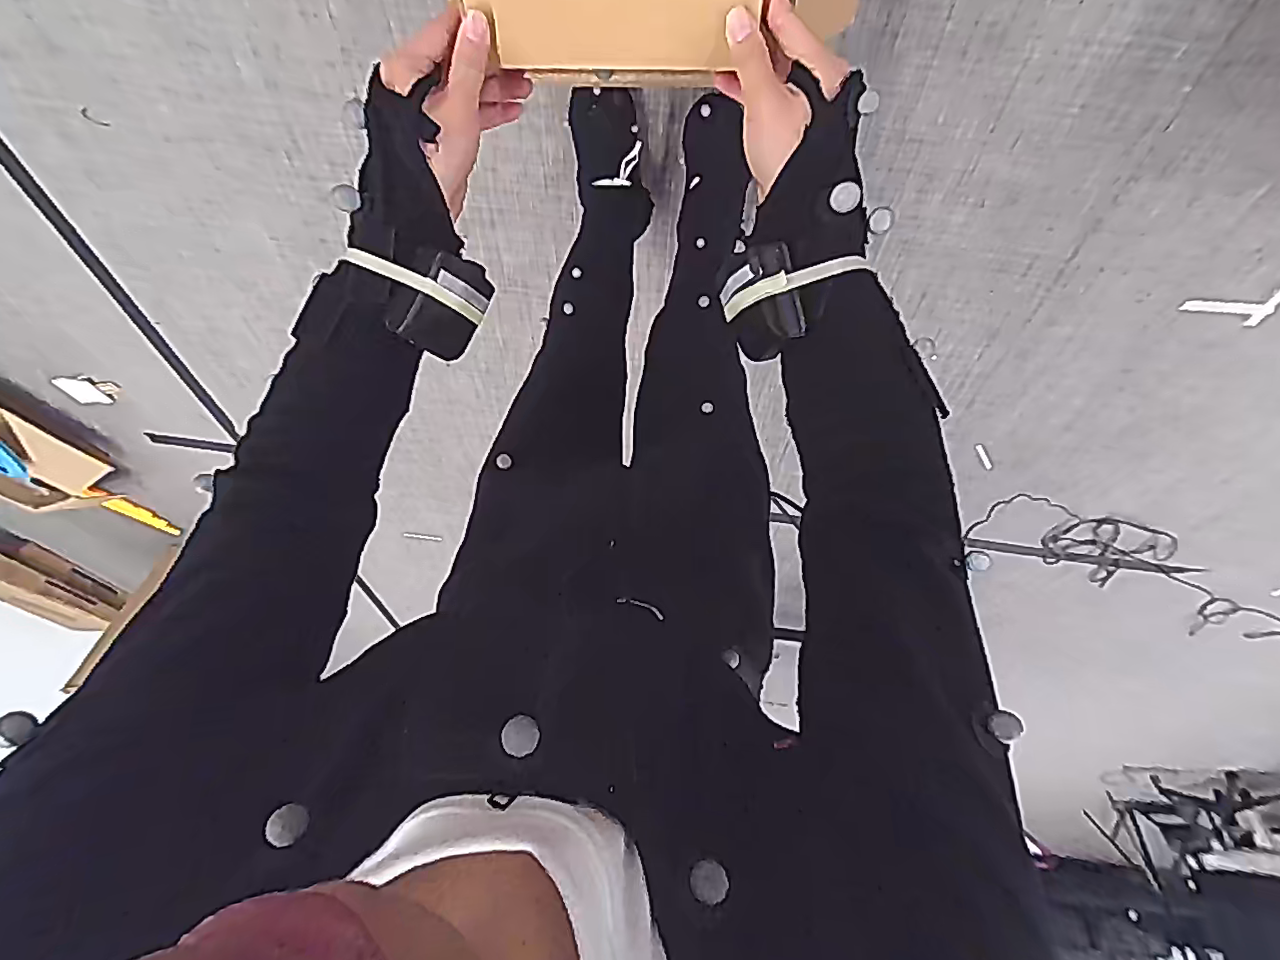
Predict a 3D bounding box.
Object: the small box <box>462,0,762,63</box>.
[{"bbox_3d":[-0.013,-0.372,0.313,0.179,0.176,0.168,3,145,2],"label":"small box"}]
